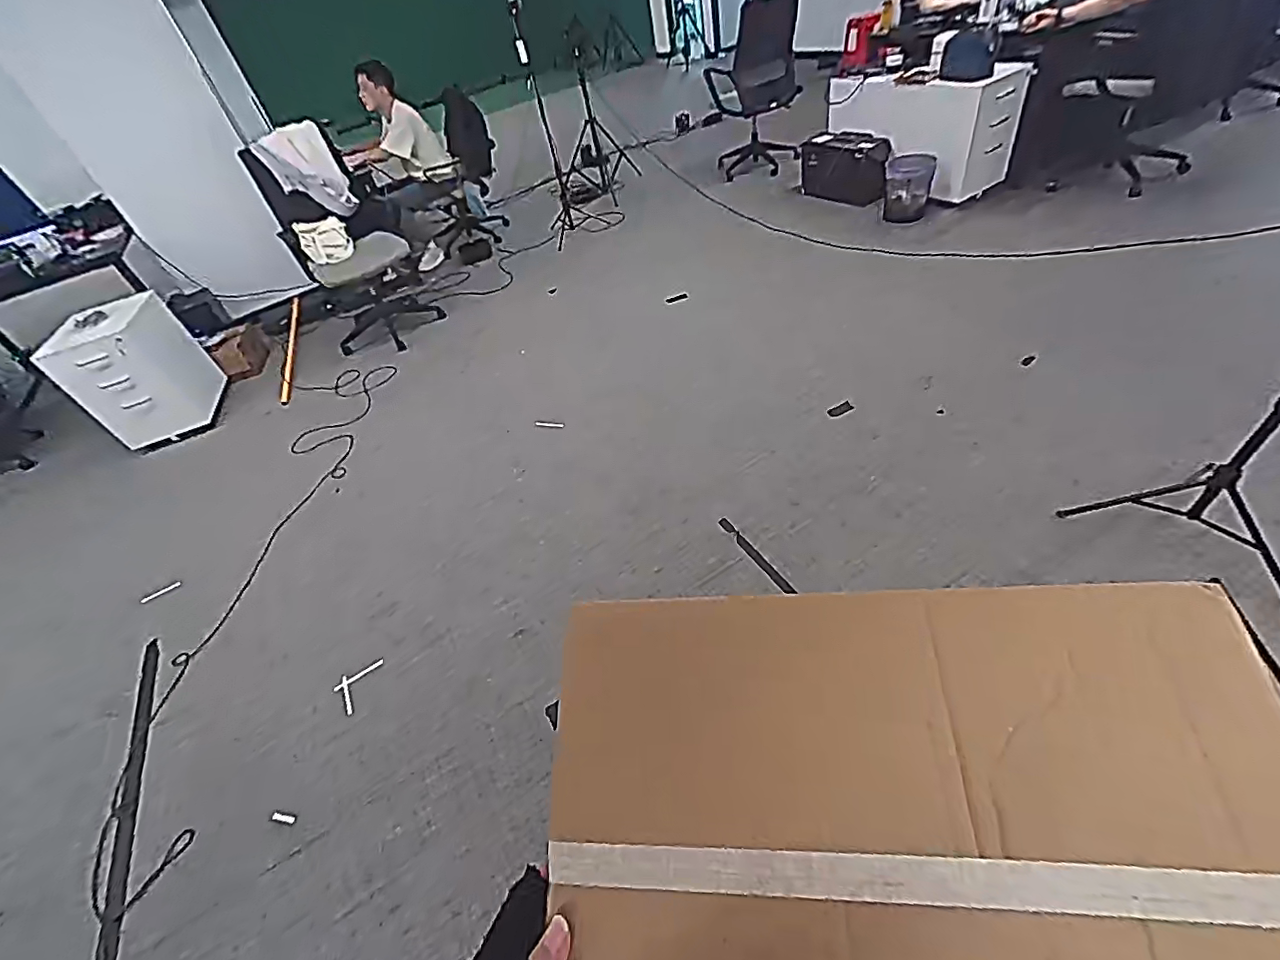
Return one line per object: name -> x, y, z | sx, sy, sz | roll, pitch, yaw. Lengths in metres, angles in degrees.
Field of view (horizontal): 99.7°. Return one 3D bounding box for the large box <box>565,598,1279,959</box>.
large box -> 0.178, 0.293, 0.429 | 0.408, 0.320, 0.320 | -4, 63, 11
